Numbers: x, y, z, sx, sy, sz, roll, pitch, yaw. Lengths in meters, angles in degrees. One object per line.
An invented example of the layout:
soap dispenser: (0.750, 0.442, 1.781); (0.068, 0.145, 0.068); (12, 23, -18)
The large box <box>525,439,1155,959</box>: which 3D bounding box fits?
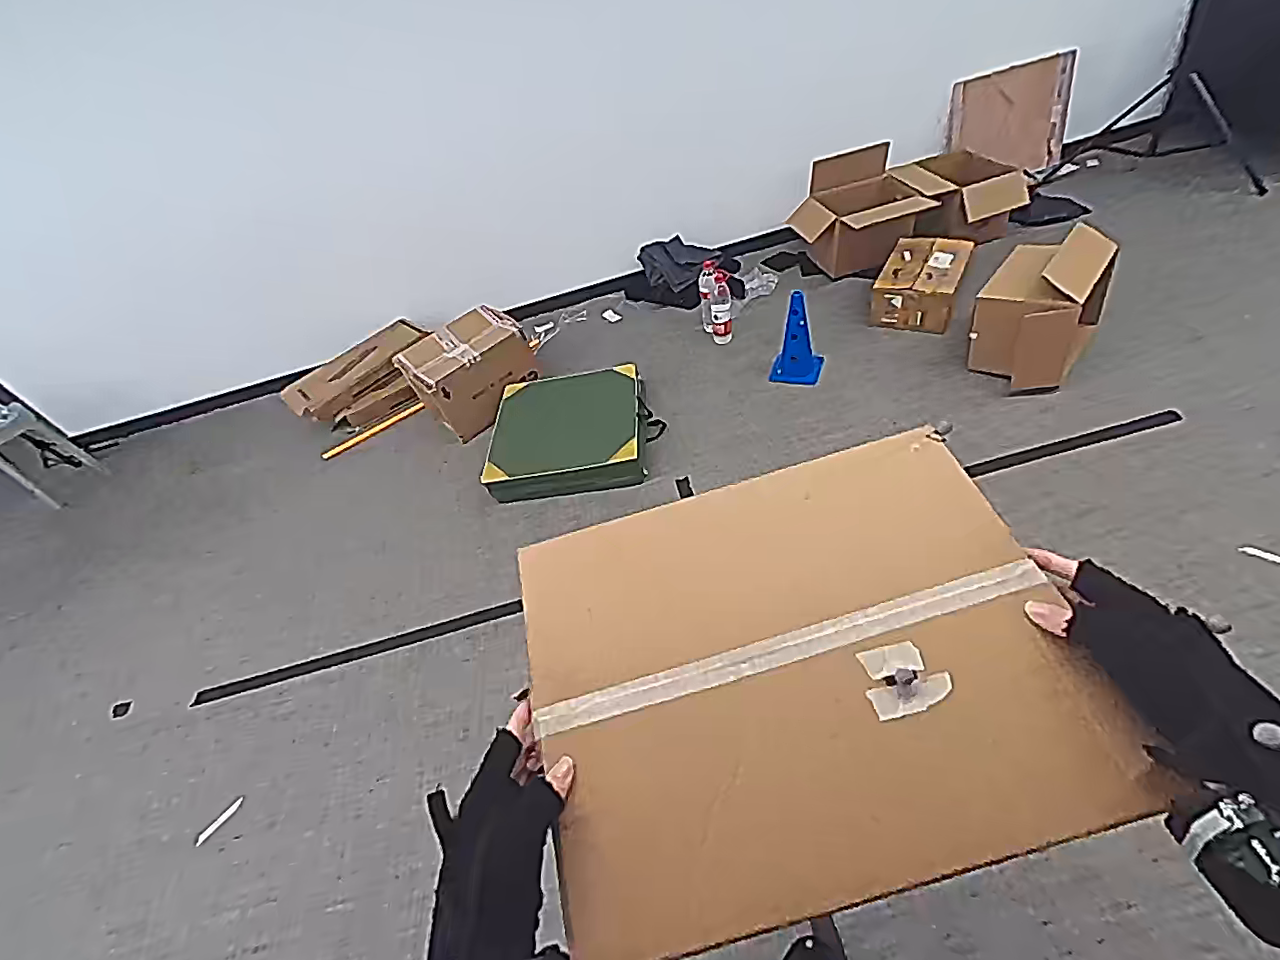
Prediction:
large box: (0.138, 0.219, 0.557); (0.408, 0.320, 0.320); (-17, 56, 0)
